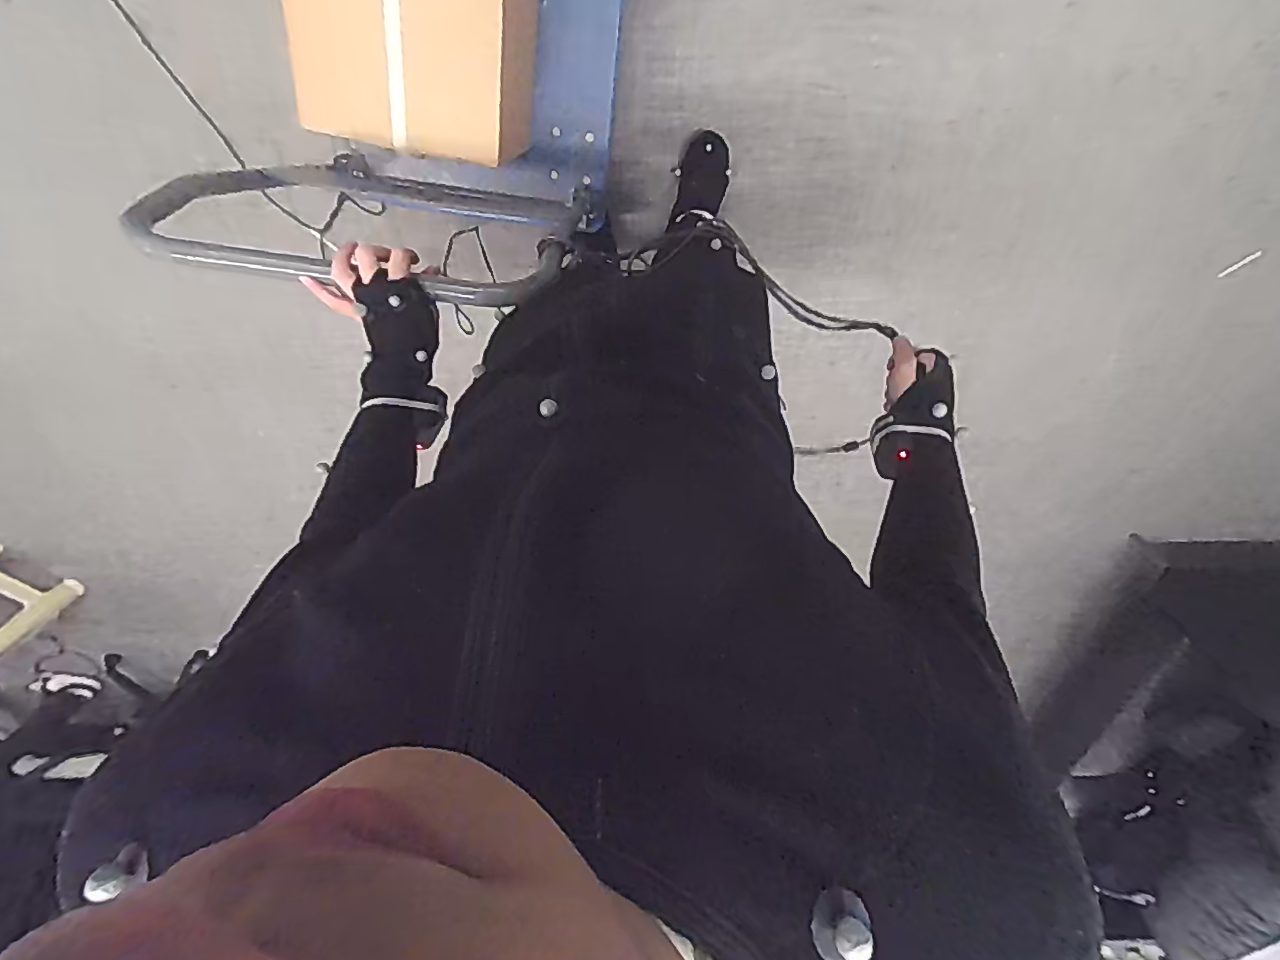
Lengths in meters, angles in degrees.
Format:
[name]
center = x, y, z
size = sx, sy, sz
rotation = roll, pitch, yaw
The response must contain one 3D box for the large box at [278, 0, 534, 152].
[large box]
center = -0.345, -0.789, 0.858
size = 0.320, 0.320, 0.408
rotation = 9, 126, -7
